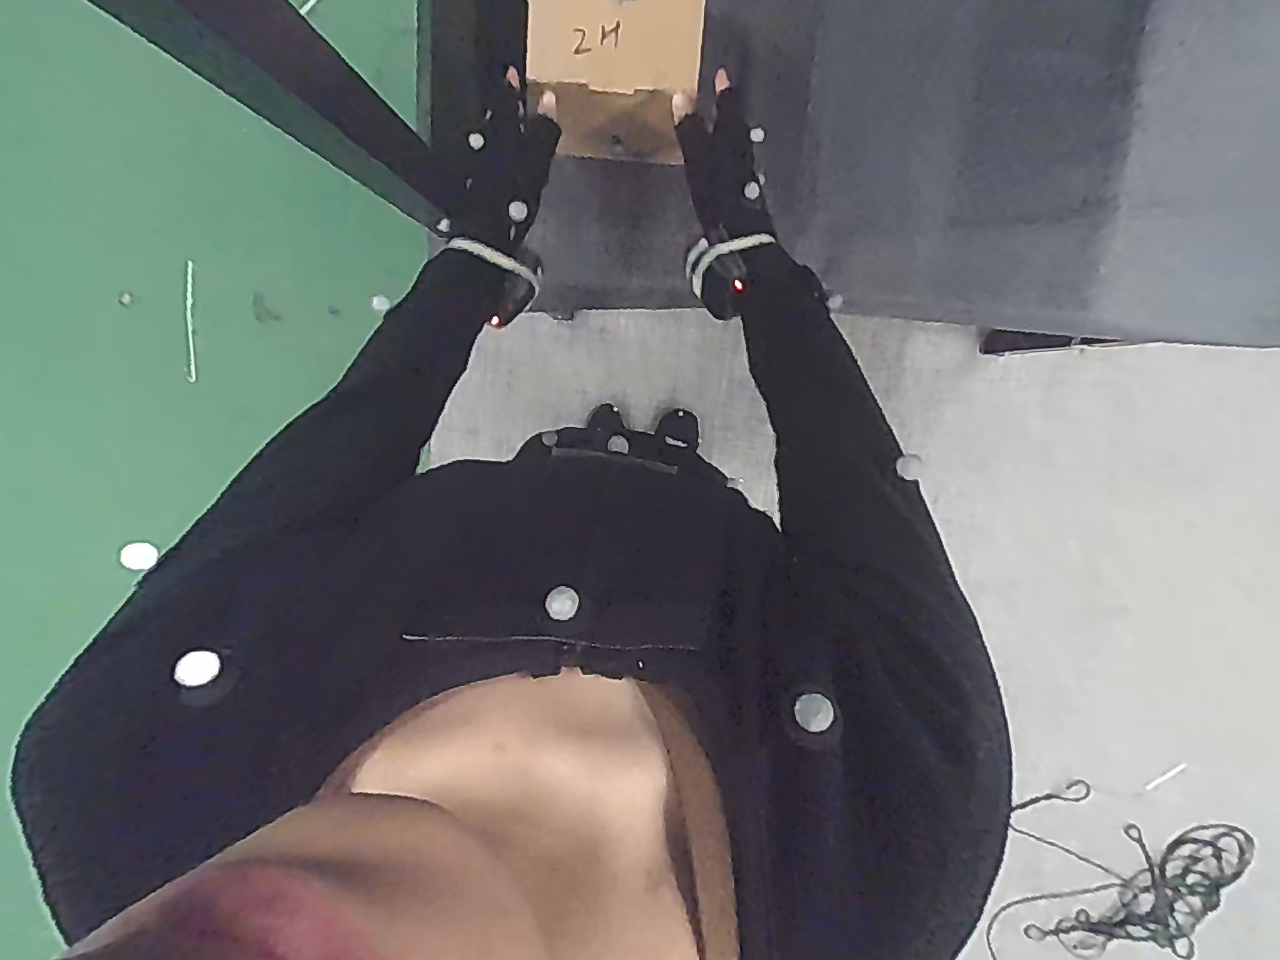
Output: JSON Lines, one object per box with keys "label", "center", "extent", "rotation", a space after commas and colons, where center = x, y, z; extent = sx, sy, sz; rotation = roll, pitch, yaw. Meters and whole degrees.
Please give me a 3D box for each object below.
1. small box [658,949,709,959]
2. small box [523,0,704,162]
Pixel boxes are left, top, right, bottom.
{"label": "small box", "center": [0.136, 1.601, 1.658], "extent": [0.168, 0.176, 0.179], "rotation": [2, 99, 1]}
{"label": "small box", "center": [-0.020, -0.472, 0.574], "extent": [0.168, 0.176, 0.179], "rotation": [5, 99, 2]}
